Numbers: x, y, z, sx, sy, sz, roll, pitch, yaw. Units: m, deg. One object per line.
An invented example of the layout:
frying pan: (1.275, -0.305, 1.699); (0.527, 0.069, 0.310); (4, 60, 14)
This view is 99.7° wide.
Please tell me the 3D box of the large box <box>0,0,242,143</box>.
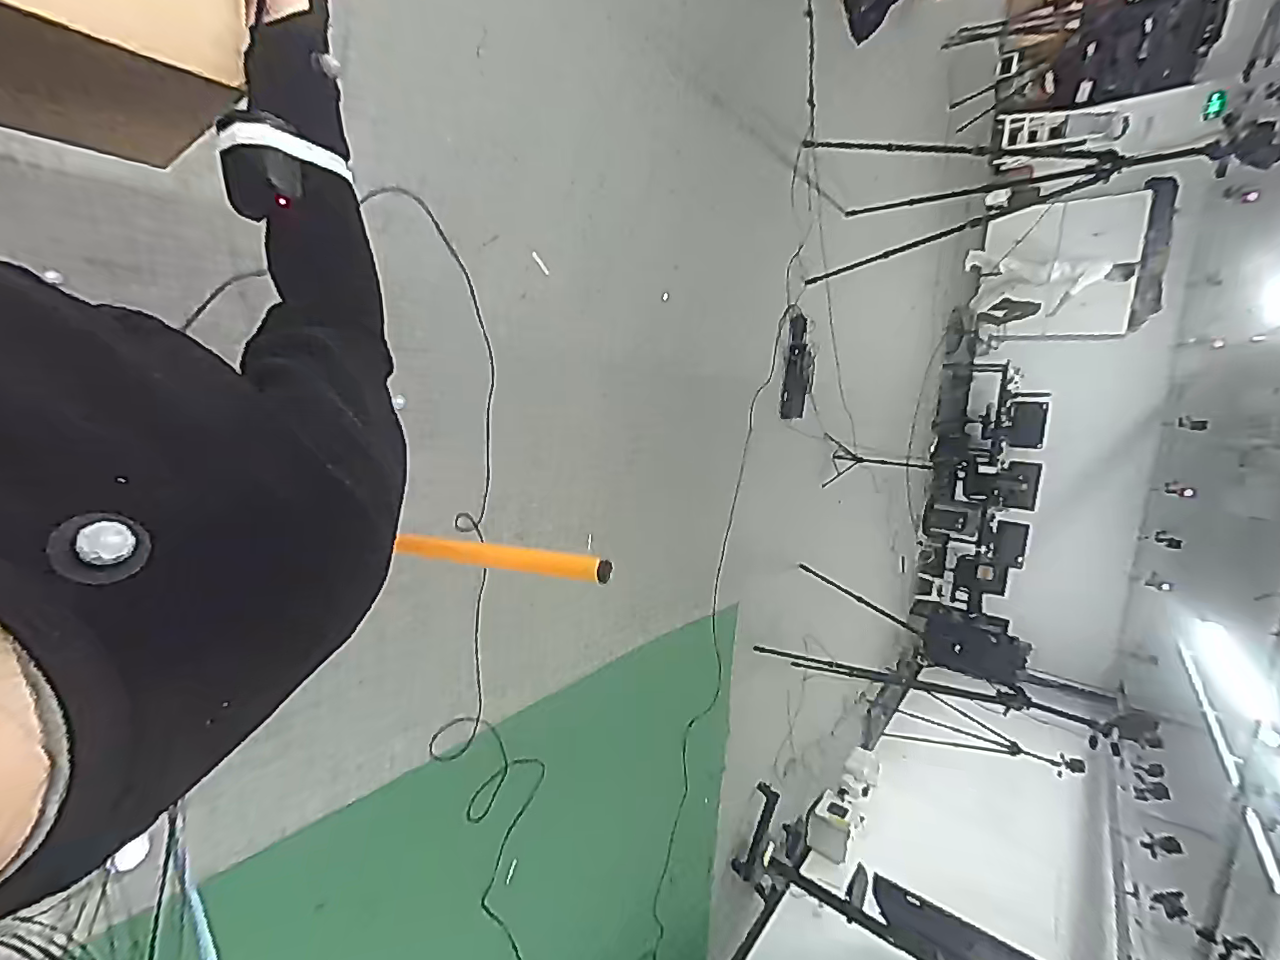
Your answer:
large box: (-0.543, -0.468, 0.338); (0.408, 0.320, 0.320); (-10, 107, -48)
